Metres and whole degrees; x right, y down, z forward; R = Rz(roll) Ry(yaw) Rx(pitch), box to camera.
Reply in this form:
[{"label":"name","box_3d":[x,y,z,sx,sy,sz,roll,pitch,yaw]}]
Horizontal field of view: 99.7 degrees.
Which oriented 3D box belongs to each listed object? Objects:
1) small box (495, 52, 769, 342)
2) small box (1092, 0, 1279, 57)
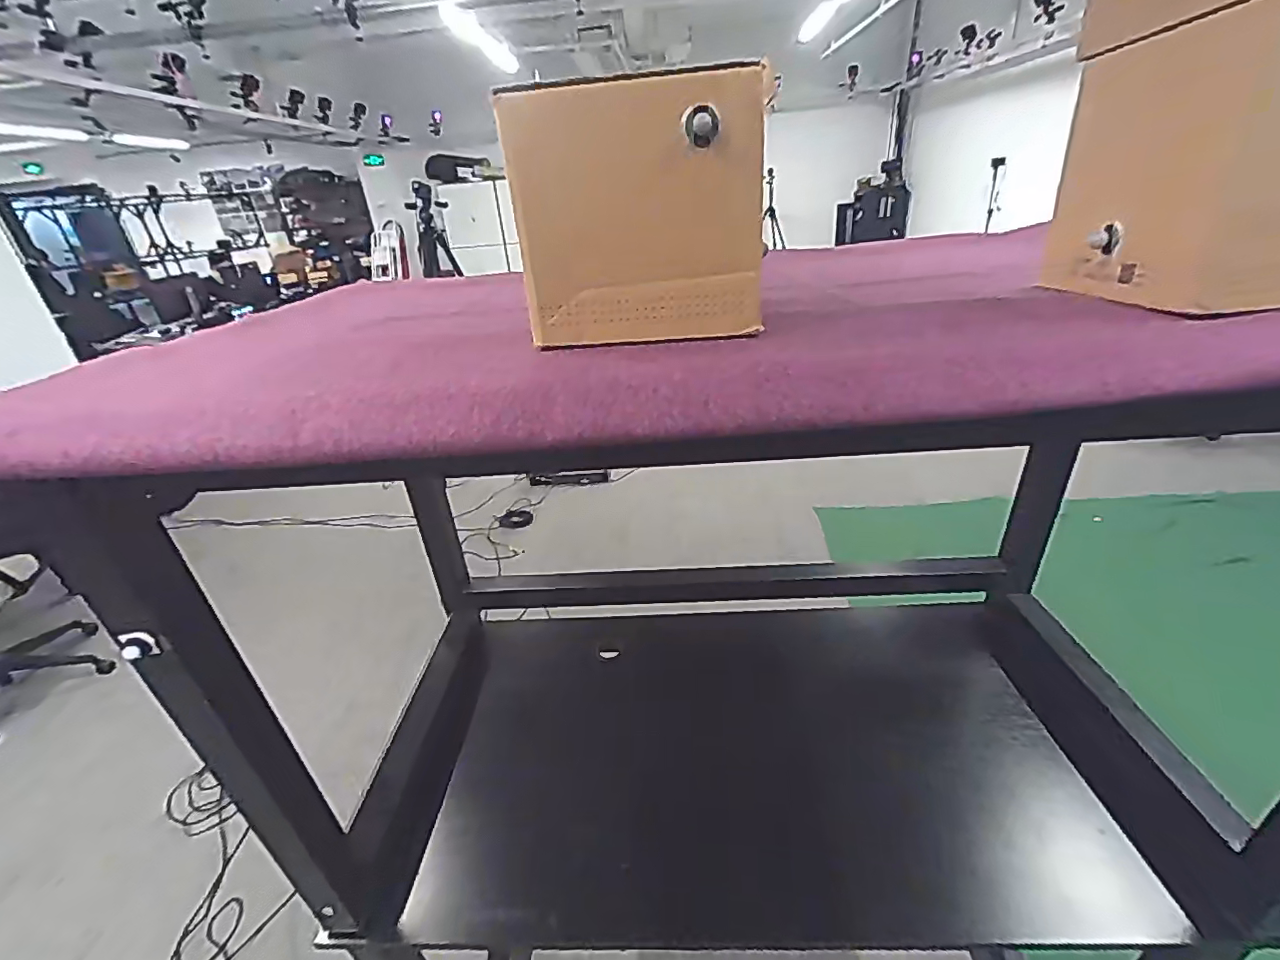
[{"label":"small box","box_3d":[0.005,-0.213,0.437,0.179,0.176,0.168,-2,27,5]},{"label":"small box","box_3d":[0.406,-0.364,0.296,0.168,0.176,0.179,-3,27,6]}]
